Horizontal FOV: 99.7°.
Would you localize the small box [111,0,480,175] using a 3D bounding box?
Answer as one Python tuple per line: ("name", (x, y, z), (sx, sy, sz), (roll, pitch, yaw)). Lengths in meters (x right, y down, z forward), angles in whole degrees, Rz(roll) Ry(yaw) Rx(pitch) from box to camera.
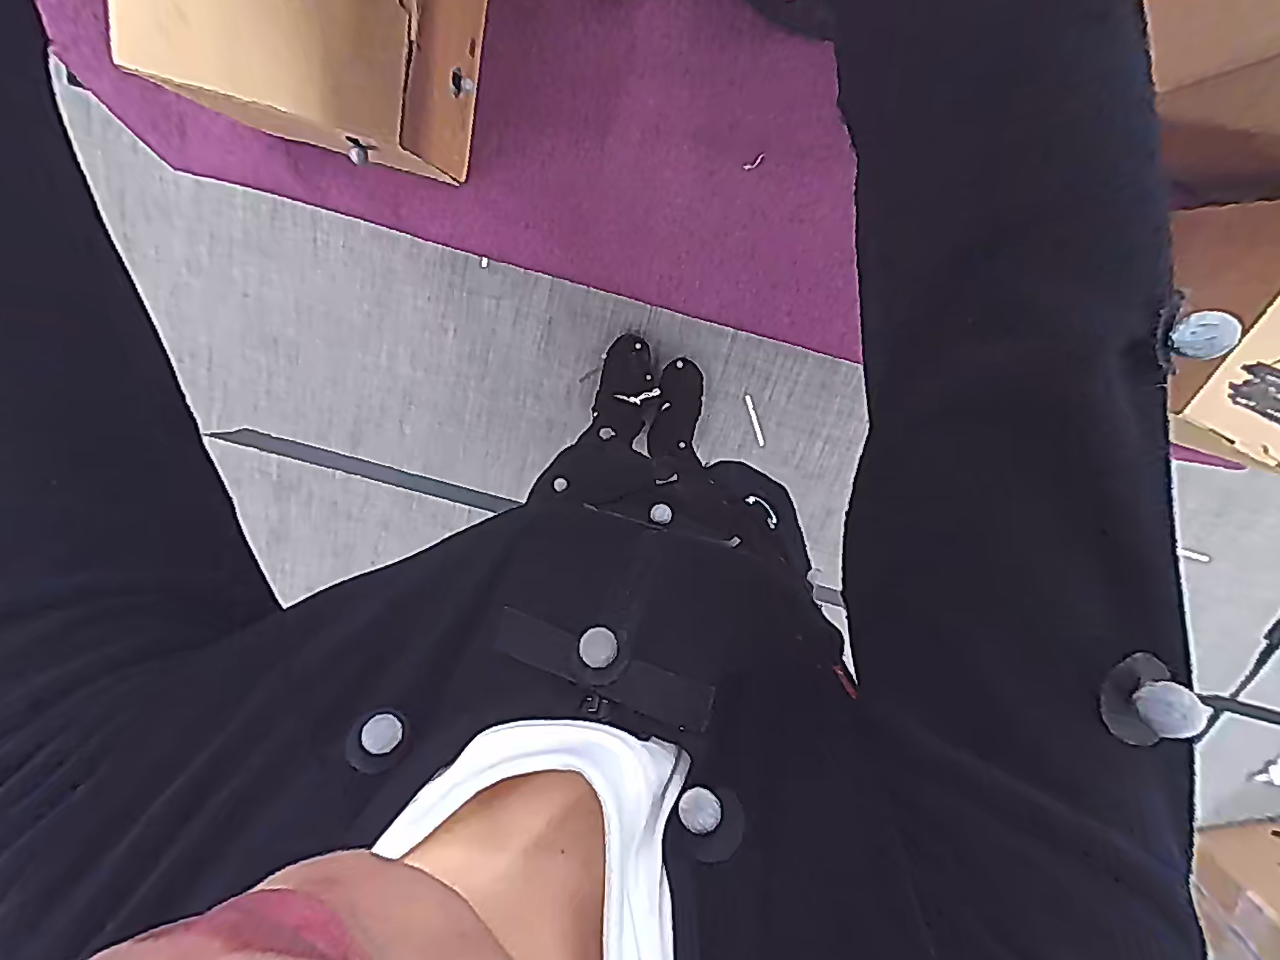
("small box", (-0.232, -0.346, 0.401), (0.179, 0.176, 0.168), (11, 110, -9))
